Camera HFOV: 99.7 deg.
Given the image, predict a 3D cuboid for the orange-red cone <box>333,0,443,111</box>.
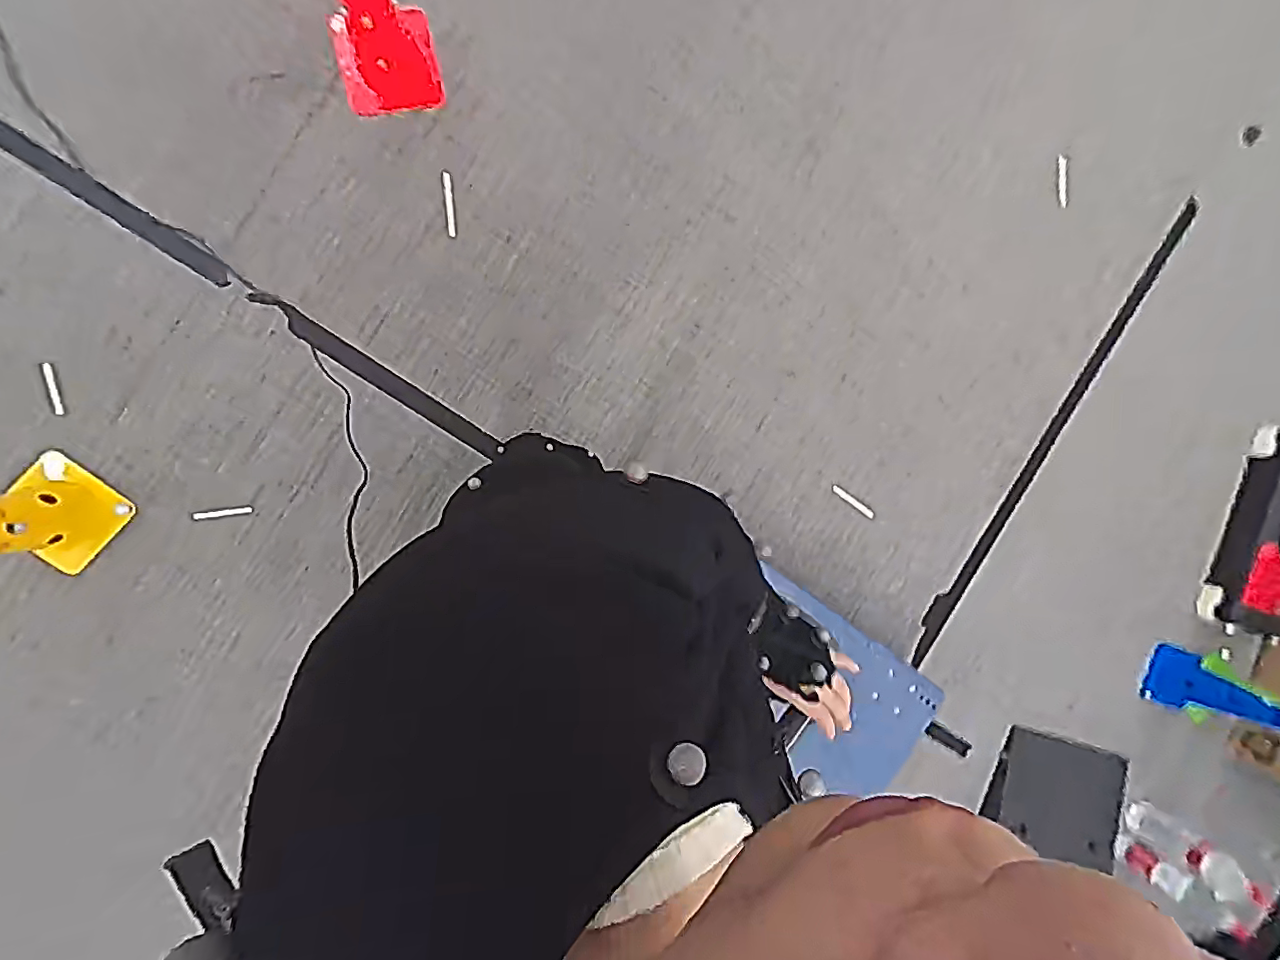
[{"bbox_3d":[-0.507,-0.885,0.996,0.198,0.360,0.199,-12,99,-9],"label":"orange-red cone"}]
